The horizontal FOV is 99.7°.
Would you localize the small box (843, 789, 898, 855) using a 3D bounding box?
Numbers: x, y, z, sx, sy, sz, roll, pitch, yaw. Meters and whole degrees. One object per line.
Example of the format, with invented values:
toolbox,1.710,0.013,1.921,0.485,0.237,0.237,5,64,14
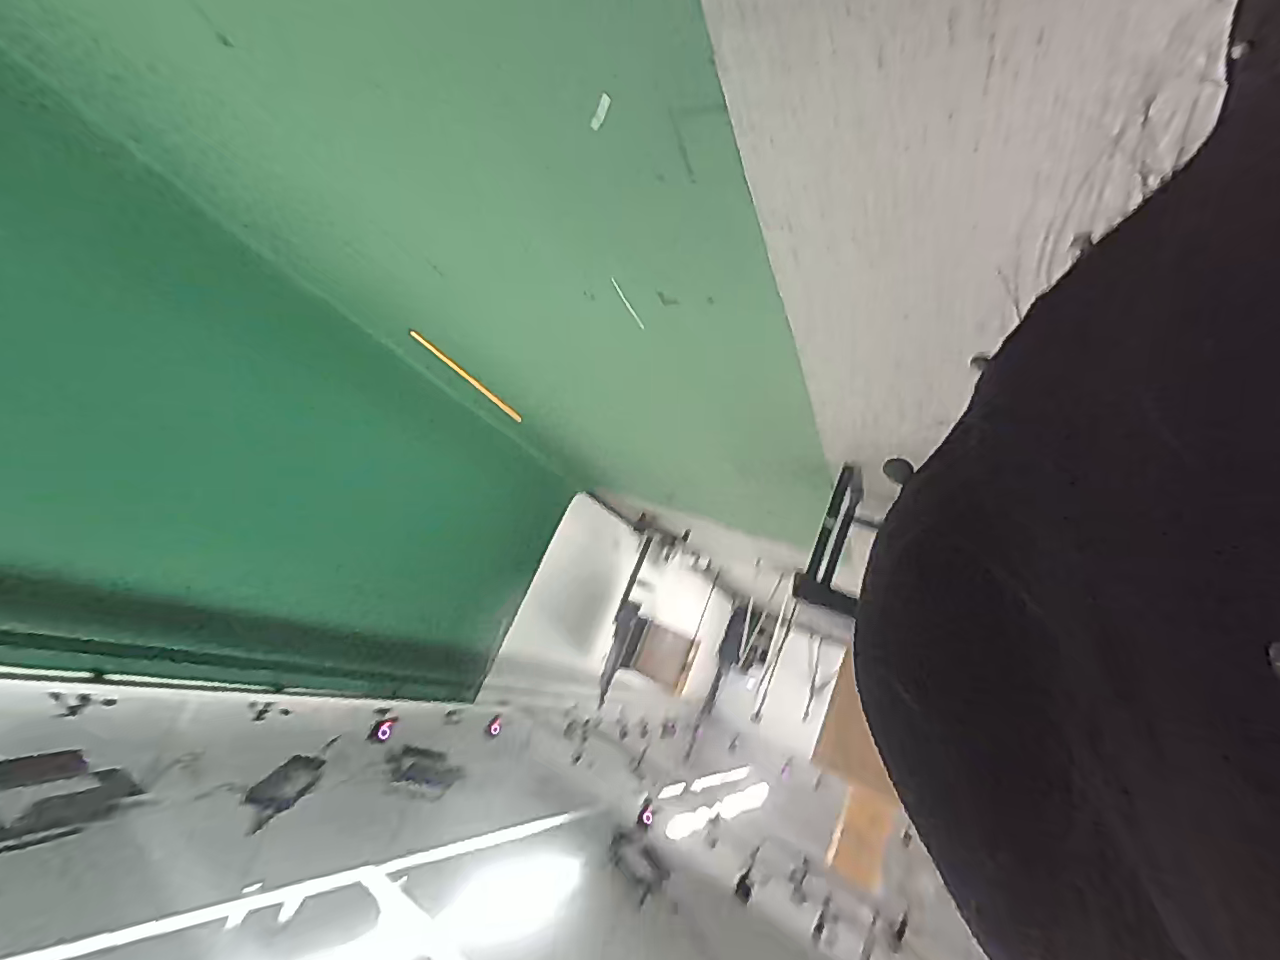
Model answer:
small box,0.964,1.424,2.262,0.168,0.176,0.179,19,164,23
